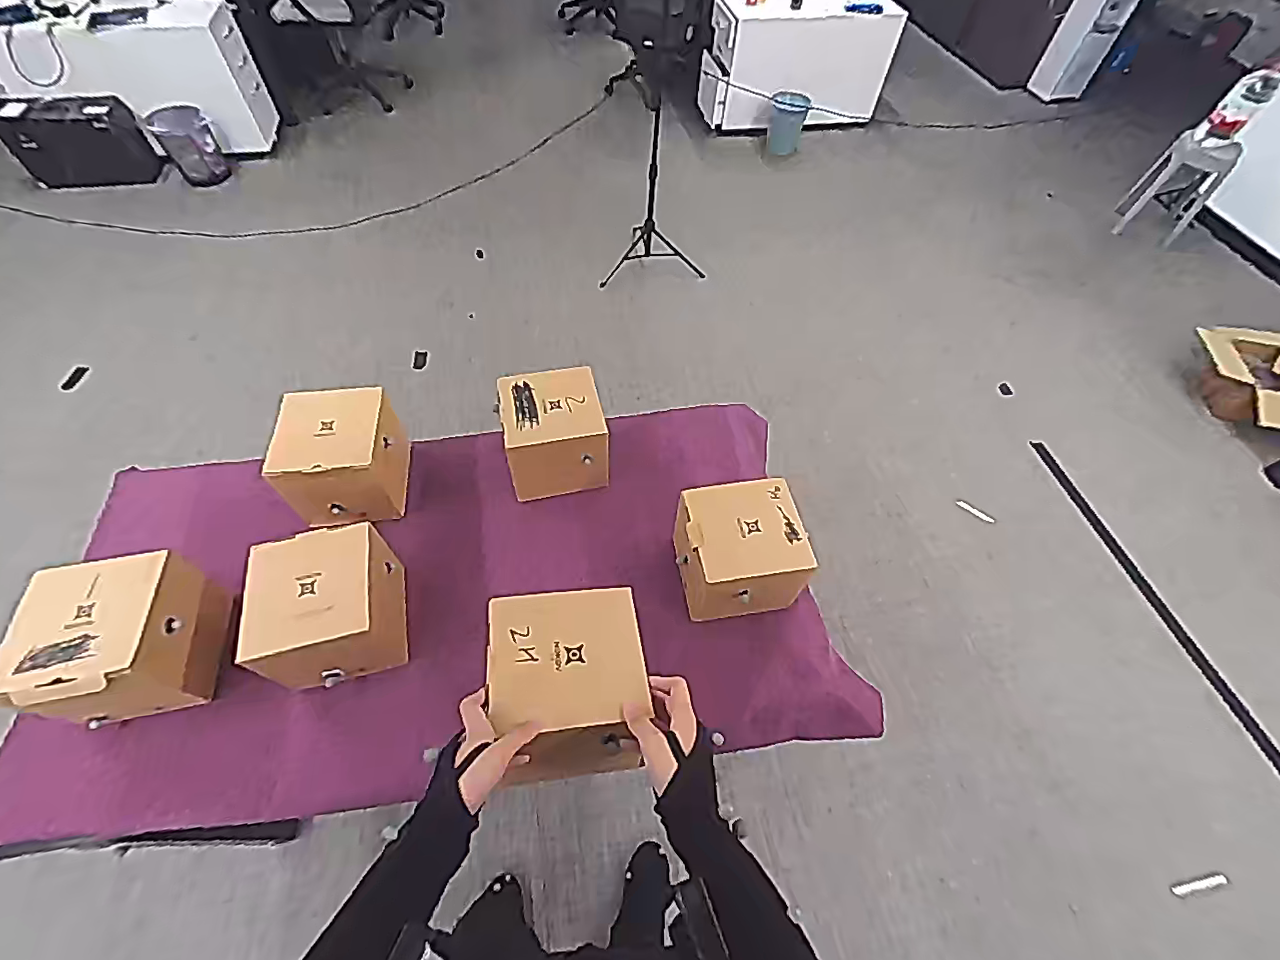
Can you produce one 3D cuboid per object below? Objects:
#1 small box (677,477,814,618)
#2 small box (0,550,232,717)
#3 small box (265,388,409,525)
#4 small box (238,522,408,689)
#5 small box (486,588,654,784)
[{"bbox_3d":[0.161,0.117,0.898,0.179,0.176,0.168,-7,57,-6],"label":"small box"},{"bbox_3d":[-0.732,0.227,0.778,0.168,0.176,0.179,-9,56,-9],"label":"small box"},{"bbox_3d":[-0.524,-0.040,0.967,0.168,0.176,0.179,-5,57,-7],"label":"small box"},{"bbox_3d":[-0.462,0.192,0.818,0.168,0.176,0.179,-12,58,-10],"label":"small box"},{"bbox_3d":[-0.091,0.252,0.665,0.179,0.176,0.168,-3,46,-11],"label":"small box"}]
